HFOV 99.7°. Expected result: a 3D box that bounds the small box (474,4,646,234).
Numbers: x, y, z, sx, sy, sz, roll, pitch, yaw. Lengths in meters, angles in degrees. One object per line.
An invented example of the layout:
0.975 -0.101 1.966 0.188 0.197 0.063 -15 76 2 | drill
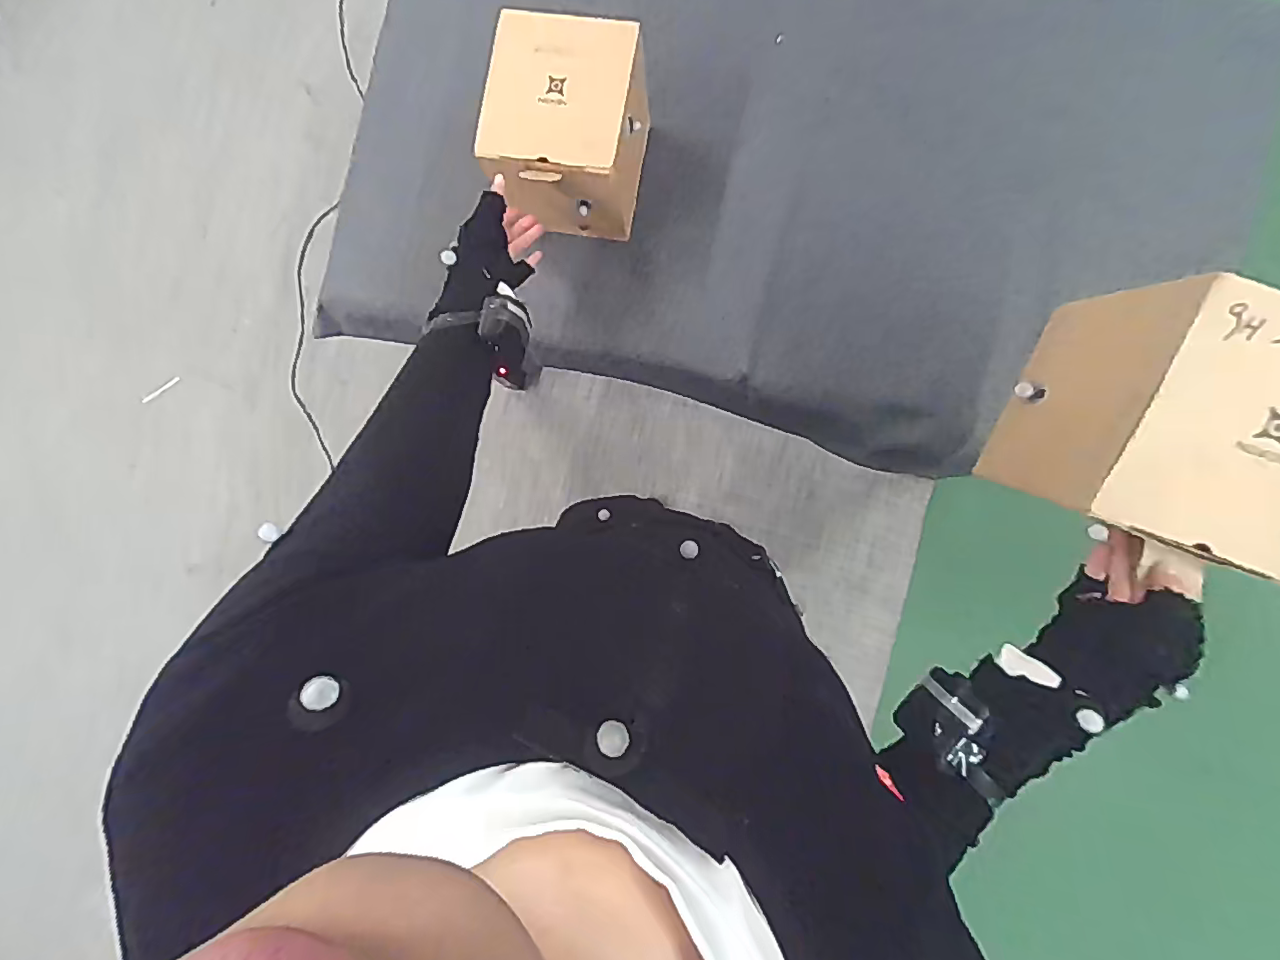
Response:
-0.088 -0.441 0.687 0.168 0.176 0.179 10 88 4 | small box

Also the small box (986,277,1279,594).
0.428 -0.040 0.444 0.168 0.176 0.179 21 103 1 | small box
